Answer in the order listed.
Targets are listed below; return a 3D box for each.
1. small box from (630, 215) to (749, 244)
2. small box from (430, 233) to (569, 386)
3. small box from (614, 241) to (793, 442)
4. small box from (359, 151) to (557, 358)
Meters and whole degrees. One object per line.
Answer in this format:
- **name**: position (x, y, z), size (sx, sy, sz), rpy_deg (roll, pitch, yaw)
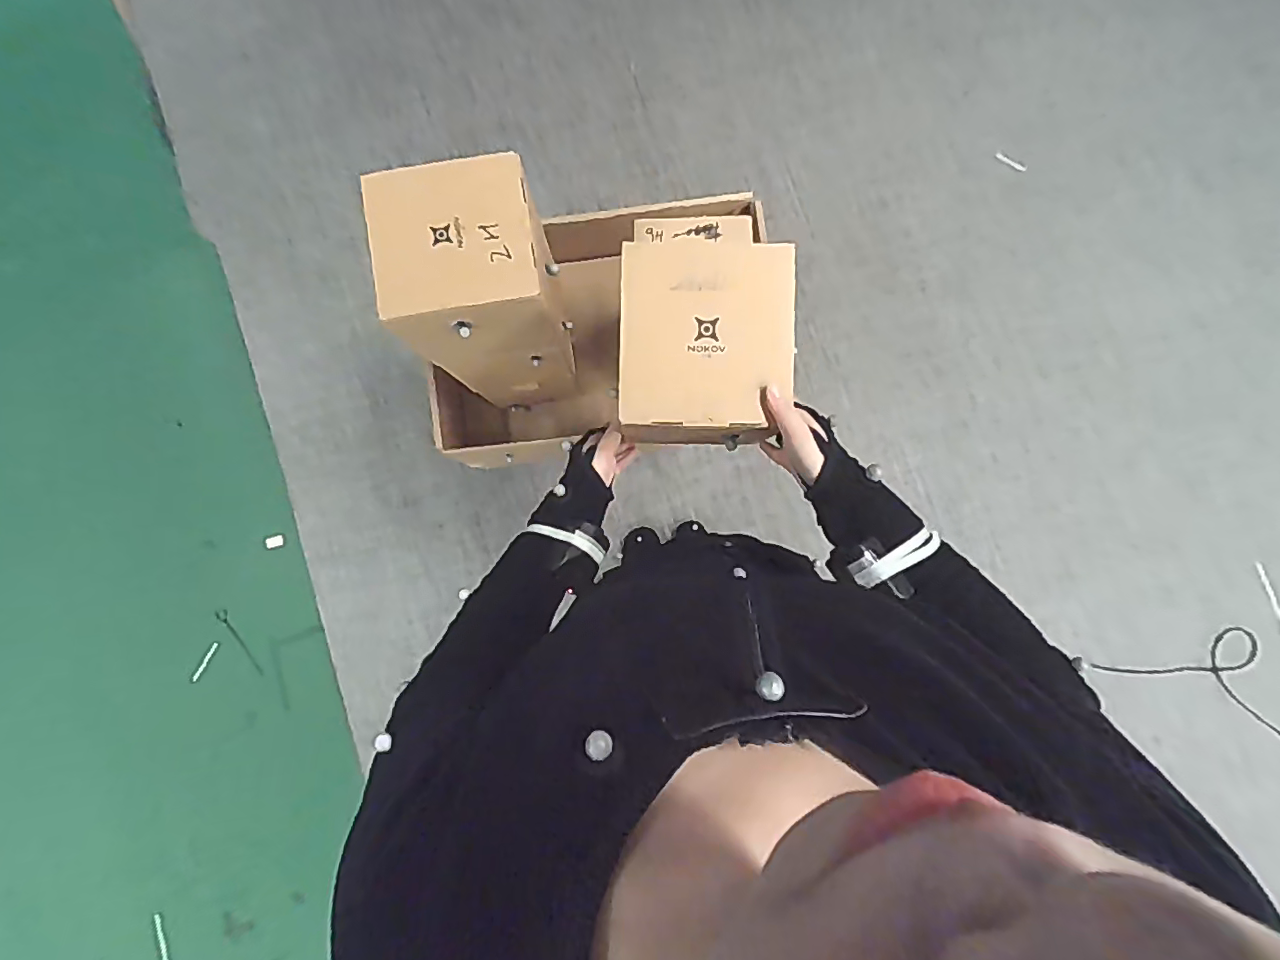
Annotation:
- **small box**: position (0.070, -0.275, 0.822), size (0.168, 0.176, 0.179), rpy_deg (-1, 87, 0)
- **small box**: position (-0.212, -0.249, 0.822), size (0.179, 0.176, 0.168), rpy_deg (-8, 86, -2)
- **small box**: position (0.061, -0.135, 0.589), size (0.168, 0.176, 0.179), rpy_deg (1, 88, 0)
- **small box**: position (-0.208, -0.258, 0.658), size (0.179, 0.176, 0.168), rpy_deg (-9, 87, -2)
